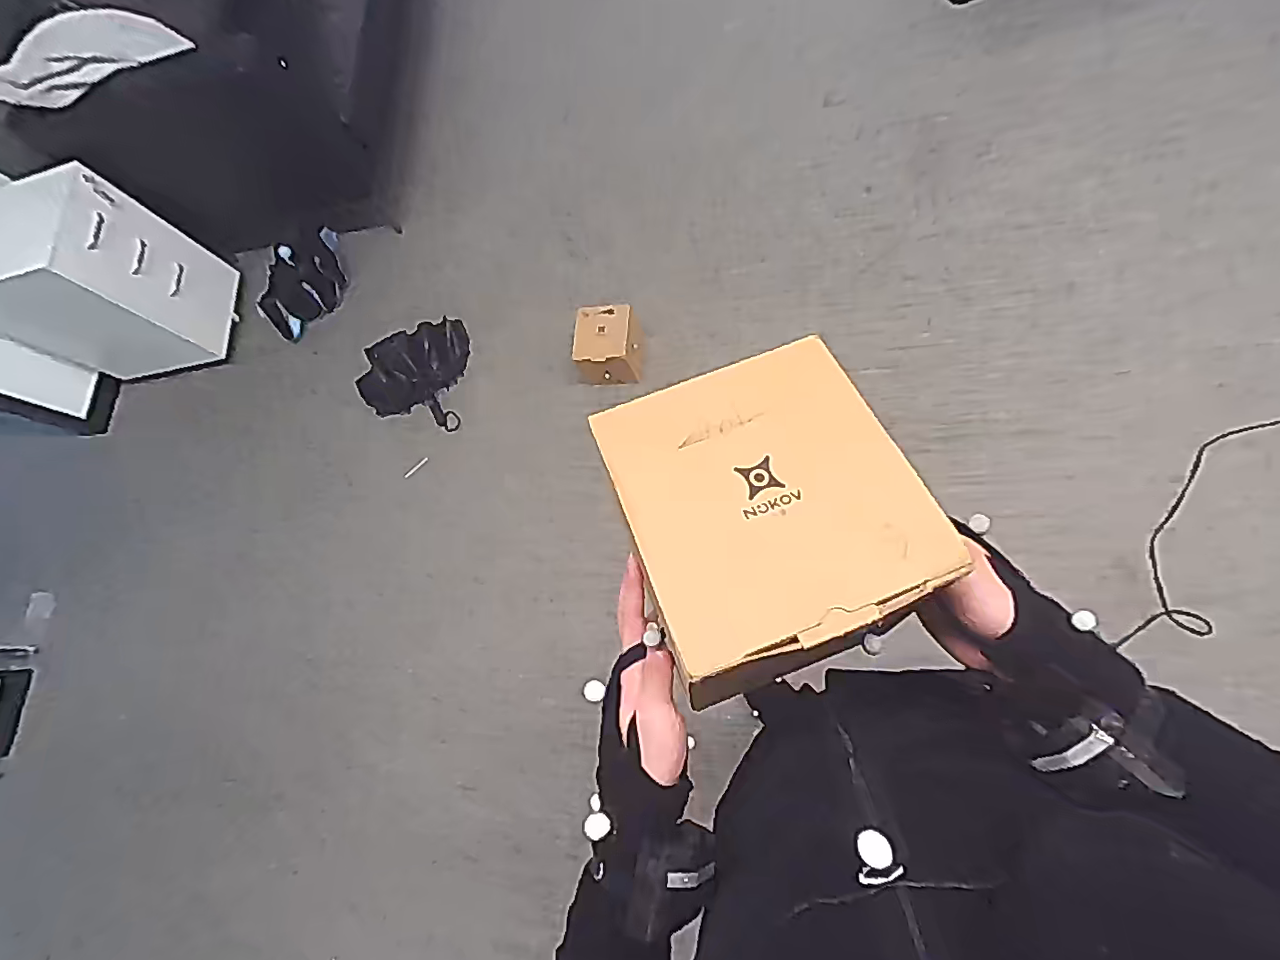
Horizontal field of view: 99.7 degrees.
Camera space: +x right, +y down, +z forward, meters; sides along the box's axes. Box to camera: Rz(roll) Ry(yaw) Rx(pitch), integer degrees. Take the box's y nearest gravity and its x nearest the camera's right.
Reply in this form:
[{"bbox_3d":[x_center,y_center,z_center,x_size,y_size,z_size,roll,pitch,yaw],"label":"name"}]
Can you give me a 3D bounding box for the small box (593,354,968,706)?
[{"bbox_3d":[0.081,0.048,0.390,0.168,0.176,0.179,-20,61,-5],"label":"small box"}]
